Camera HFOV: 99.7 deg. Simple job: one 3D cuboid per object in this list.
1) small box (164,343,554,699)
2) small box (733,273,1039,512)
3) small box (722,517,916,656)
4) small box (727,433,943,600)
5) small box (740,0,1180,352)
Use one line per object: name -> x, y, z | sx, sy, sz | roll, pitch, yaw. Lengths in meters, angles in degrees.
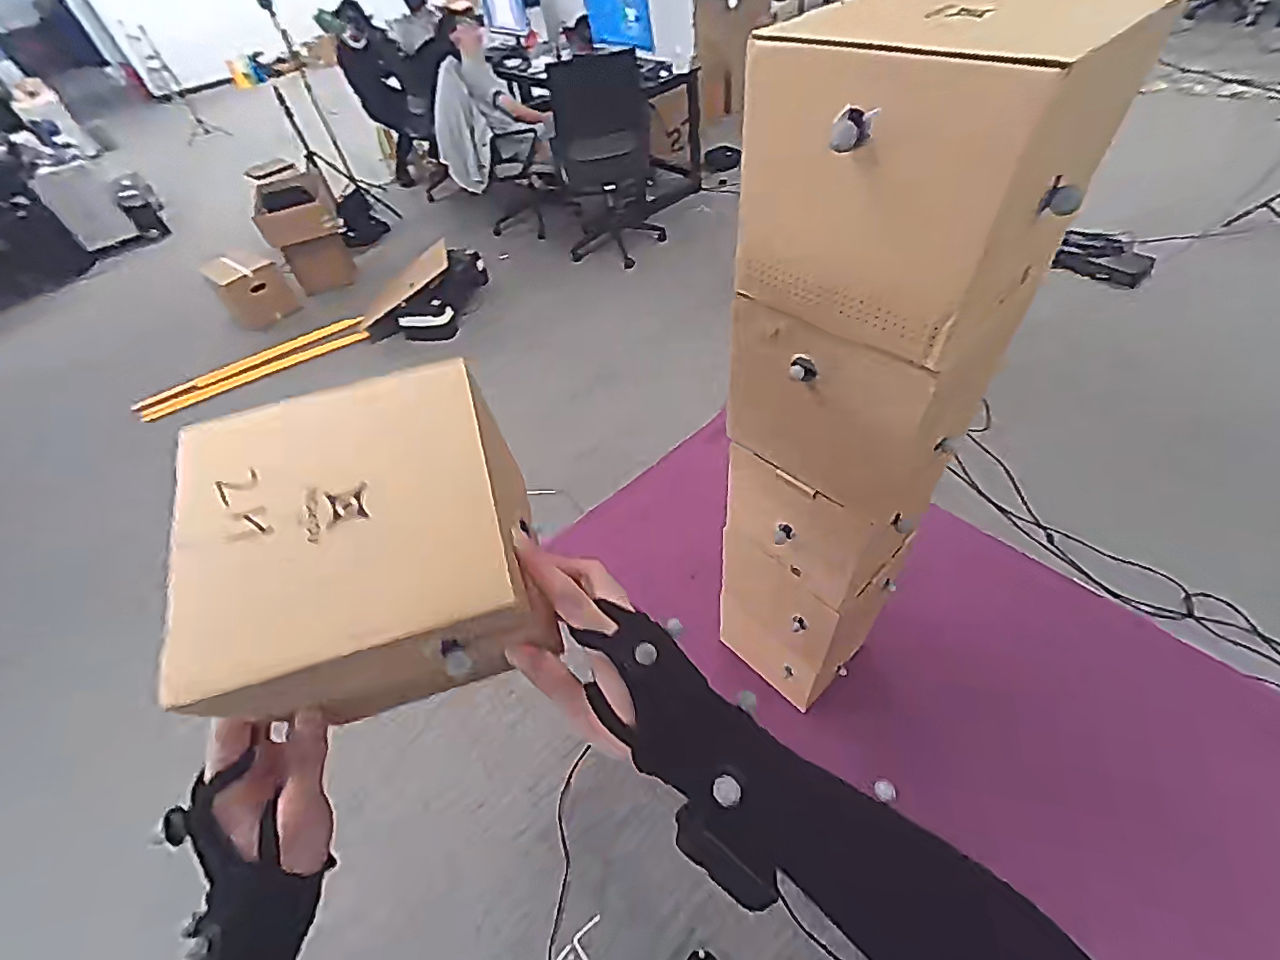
small box -> -0.164, 0.040, 0.372 | 0.179, 0.176, 0.168 | -16, 64, -5
small box -> 0.198, -0.103, 0.488 | 0.168, 0.176, 0.179 | -38, 55, -24
small box -> 0.231, 0.112, 0.733 | 0.168, 0.176, 0.179 | -37, 54, -23
small box -> 0.217, 0.002, 0.614 | 0.179, 0.176, 0.168 | -38, 55, -23
small box -> 0.186, -0.210, 0.367 | 0.168, 0.176, 0.179 | -38, 54, -23
